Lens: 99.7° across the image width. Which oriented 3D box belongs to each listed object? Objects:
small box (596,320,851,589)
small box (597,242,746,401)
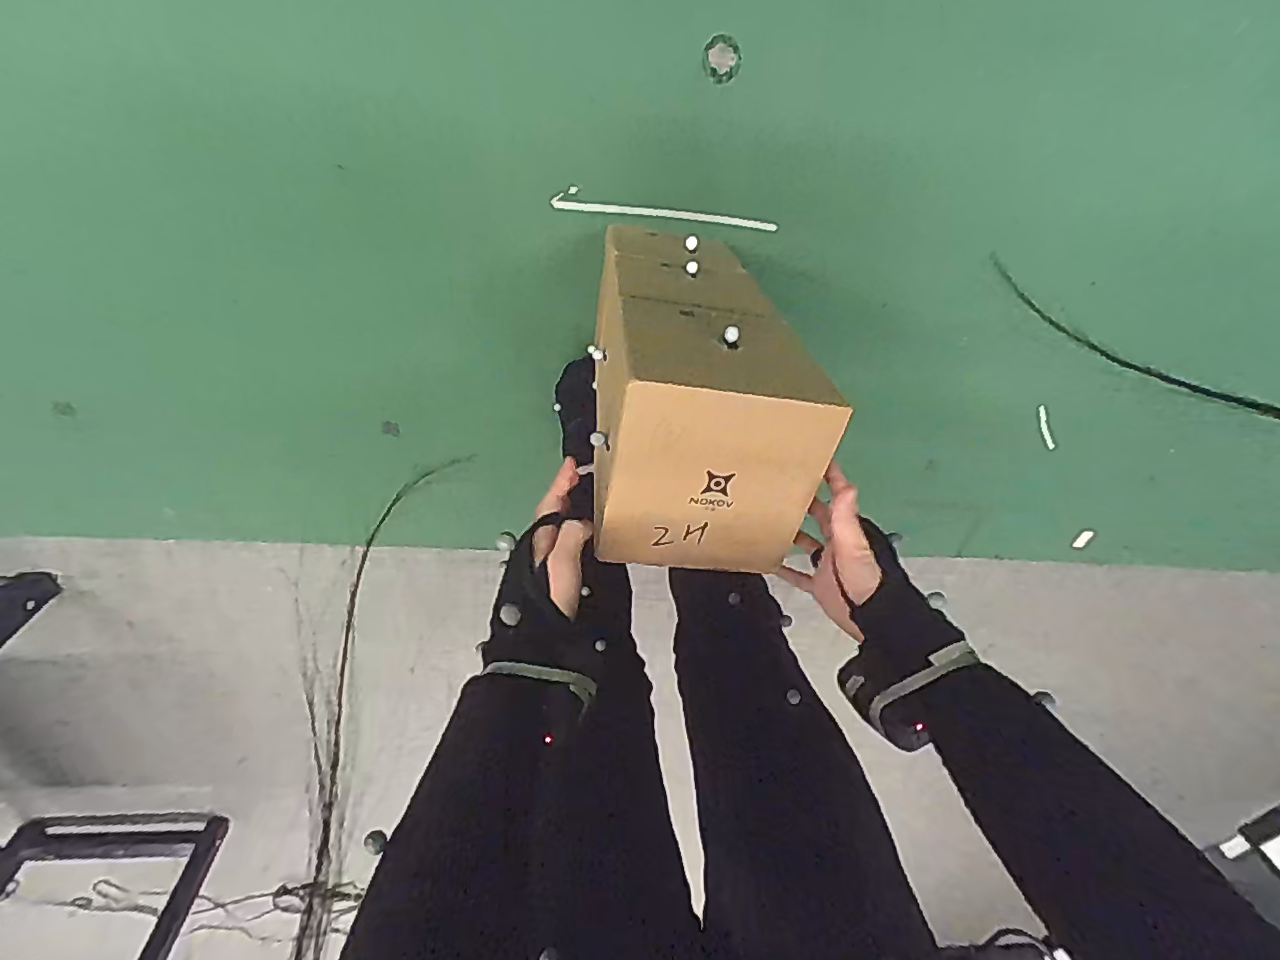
[{"bbox_3d":[0.052,-0.027,0.488,0.168,0.176,0.179,6,126,-9],"label":"small box"},{"bbox_3d":[0.031,-0.218,0.755,0.168,0.176,0.179,5,126,-8],"label":"small box"}]
